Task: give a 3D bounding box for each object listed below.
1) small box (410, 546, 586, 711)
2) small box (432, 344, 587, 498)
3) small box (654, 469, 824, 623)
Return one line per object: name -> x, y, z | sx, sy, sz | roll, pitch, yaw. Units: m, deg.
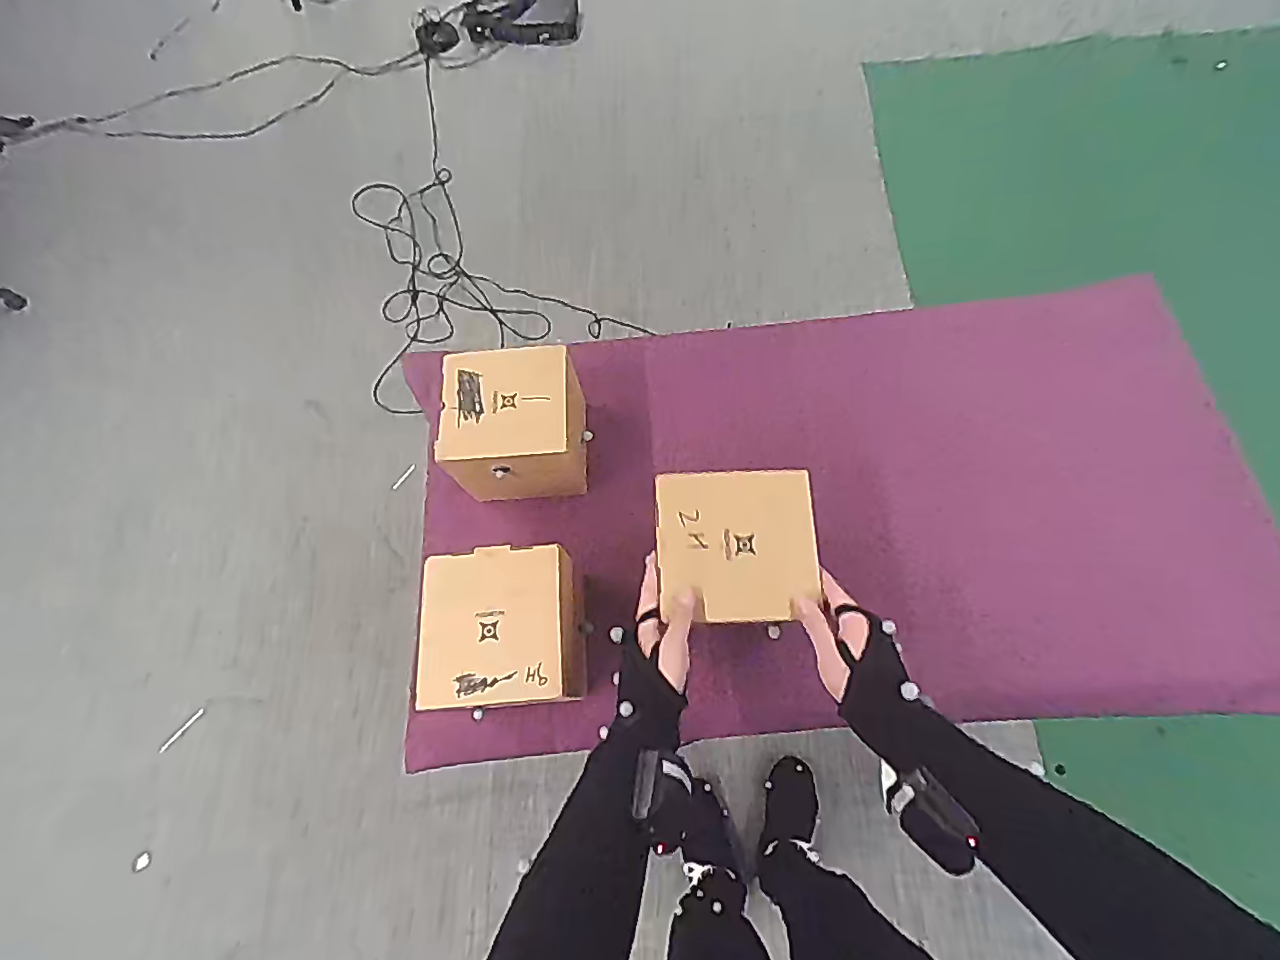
small box -> -0.165, 0.194, 0.685 | 0.168, 0.176, 0.179 | -6, 67, 4
small box -> -0.178, -0.077, 0.790 | 0.179, 0.176, 0.168 | -4, 70, 2
small box -> 0.107, 0.088, 0.662 | 0.179, 0.176, 0.168 | -1, 74, 2
